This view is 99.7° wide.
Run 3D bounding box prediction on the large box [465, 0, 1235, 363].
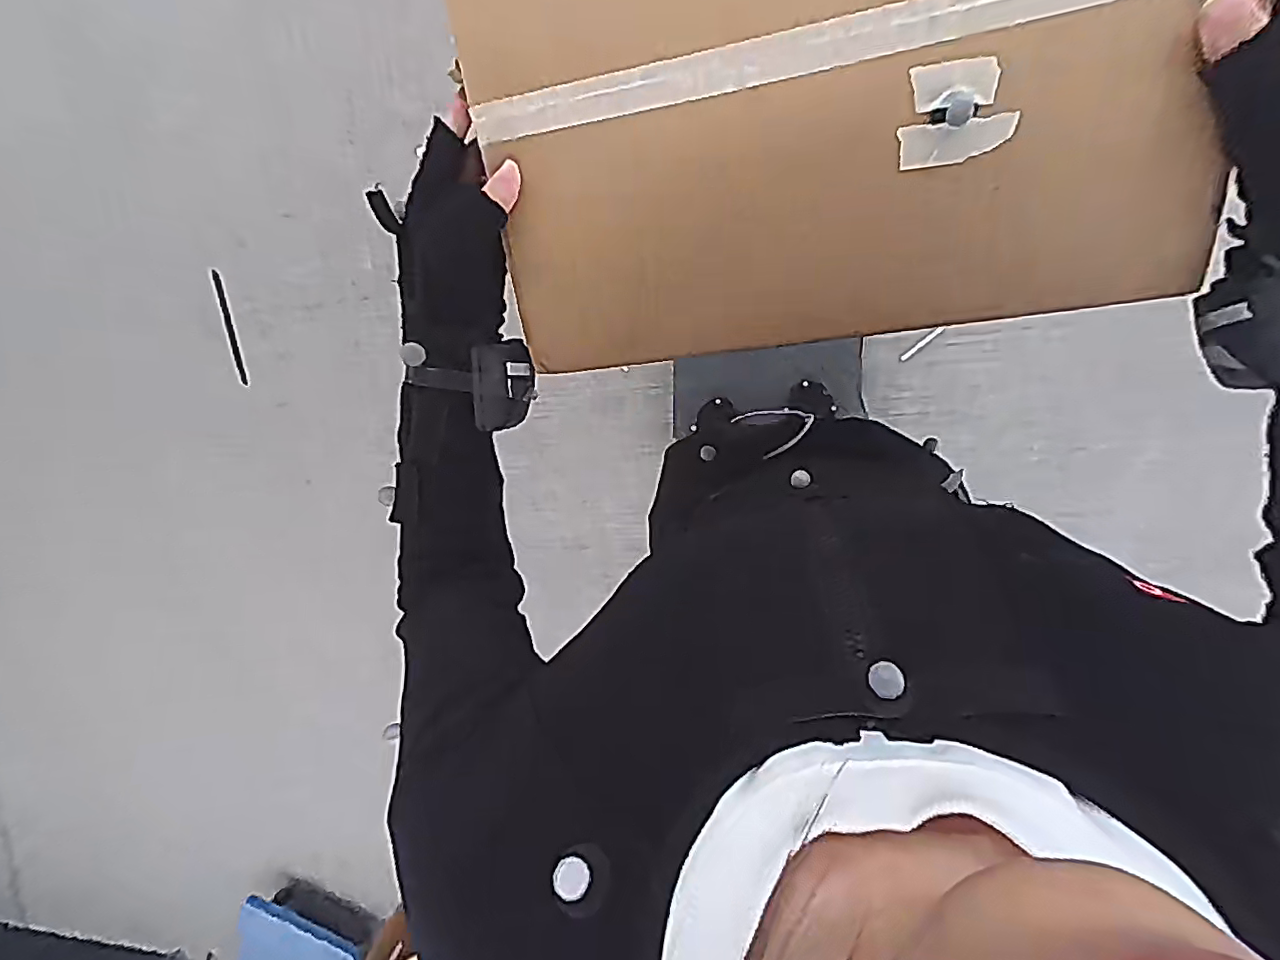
[{"bbox_3d":[0.120,-0.302,0.436,0.408,0.320,0.320,-5,114,11],"label":"large box"}]
